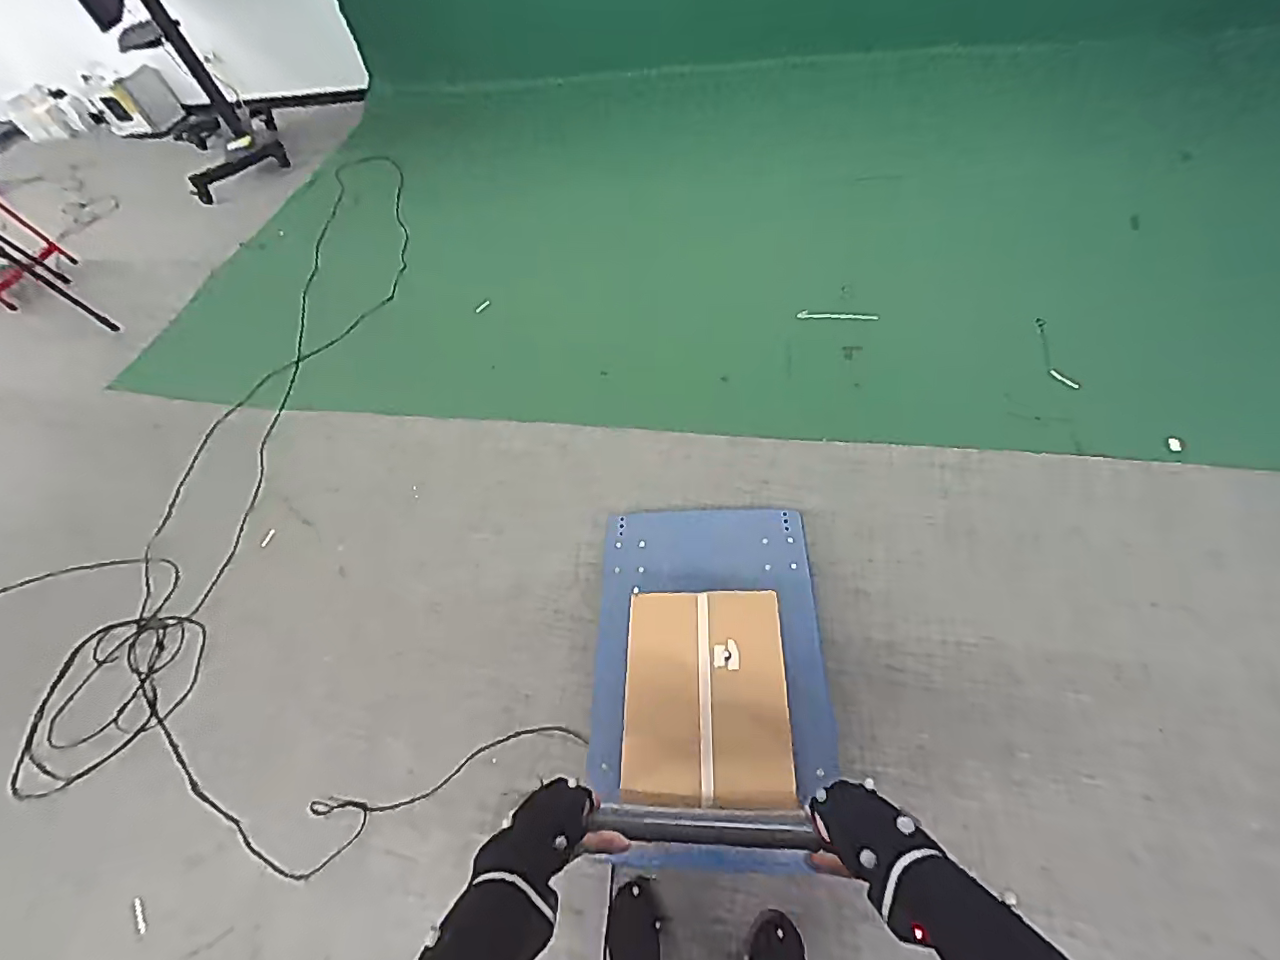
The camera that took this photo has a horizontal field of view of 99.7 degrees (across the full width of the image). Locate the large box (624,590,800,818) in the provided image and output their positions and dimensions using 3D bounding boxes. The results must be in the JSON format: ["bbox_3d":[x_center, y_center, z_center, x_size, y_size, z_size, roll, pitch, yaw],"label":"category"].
[{"bbox_3d":[0.151,0.490,1.173,0.320,0.320,0.408,-3,55,8],"label":"large box"}]
